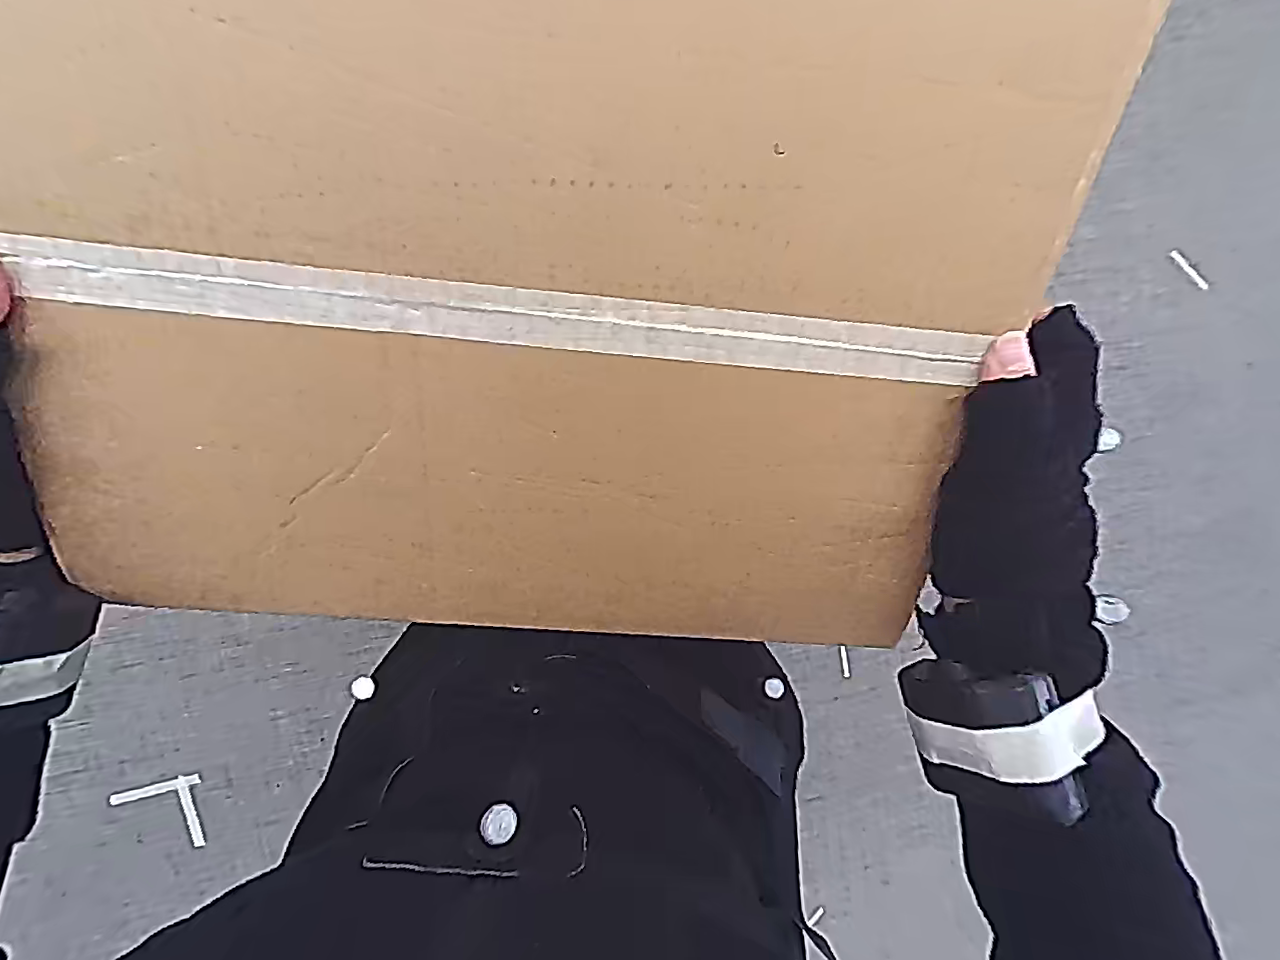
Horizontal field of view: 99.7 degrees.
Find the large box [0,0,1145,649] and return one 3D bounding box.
[{"bbox_3d":[-0.052,-0.120,0.351,0.408,0.320,0.320,4,117,-5],"label":"large box"}]
